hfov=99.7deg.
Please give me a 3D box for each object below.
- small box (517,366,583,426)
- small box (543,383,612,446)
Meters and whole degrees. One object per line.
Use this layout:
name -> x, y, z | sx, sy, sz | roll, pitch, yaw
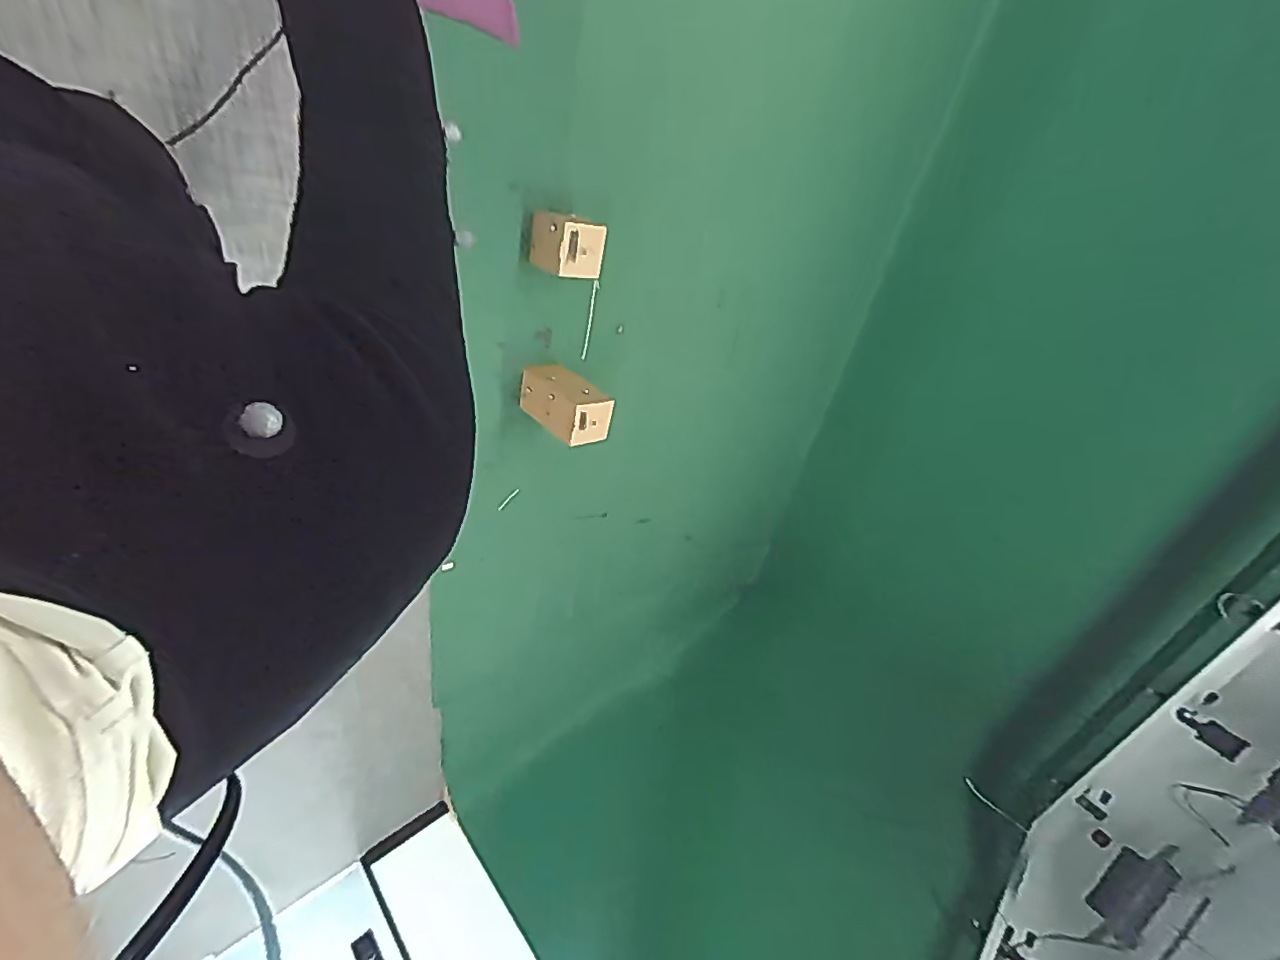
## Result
small box -> -0.345, -0.328, 2.073 | 0.179, 0.176, 0.168 | -16, 132, -41
small box -> -0.235, -0.245, 1.983 | 0.179, 0.176, 0.168 | -16, 133, -43
